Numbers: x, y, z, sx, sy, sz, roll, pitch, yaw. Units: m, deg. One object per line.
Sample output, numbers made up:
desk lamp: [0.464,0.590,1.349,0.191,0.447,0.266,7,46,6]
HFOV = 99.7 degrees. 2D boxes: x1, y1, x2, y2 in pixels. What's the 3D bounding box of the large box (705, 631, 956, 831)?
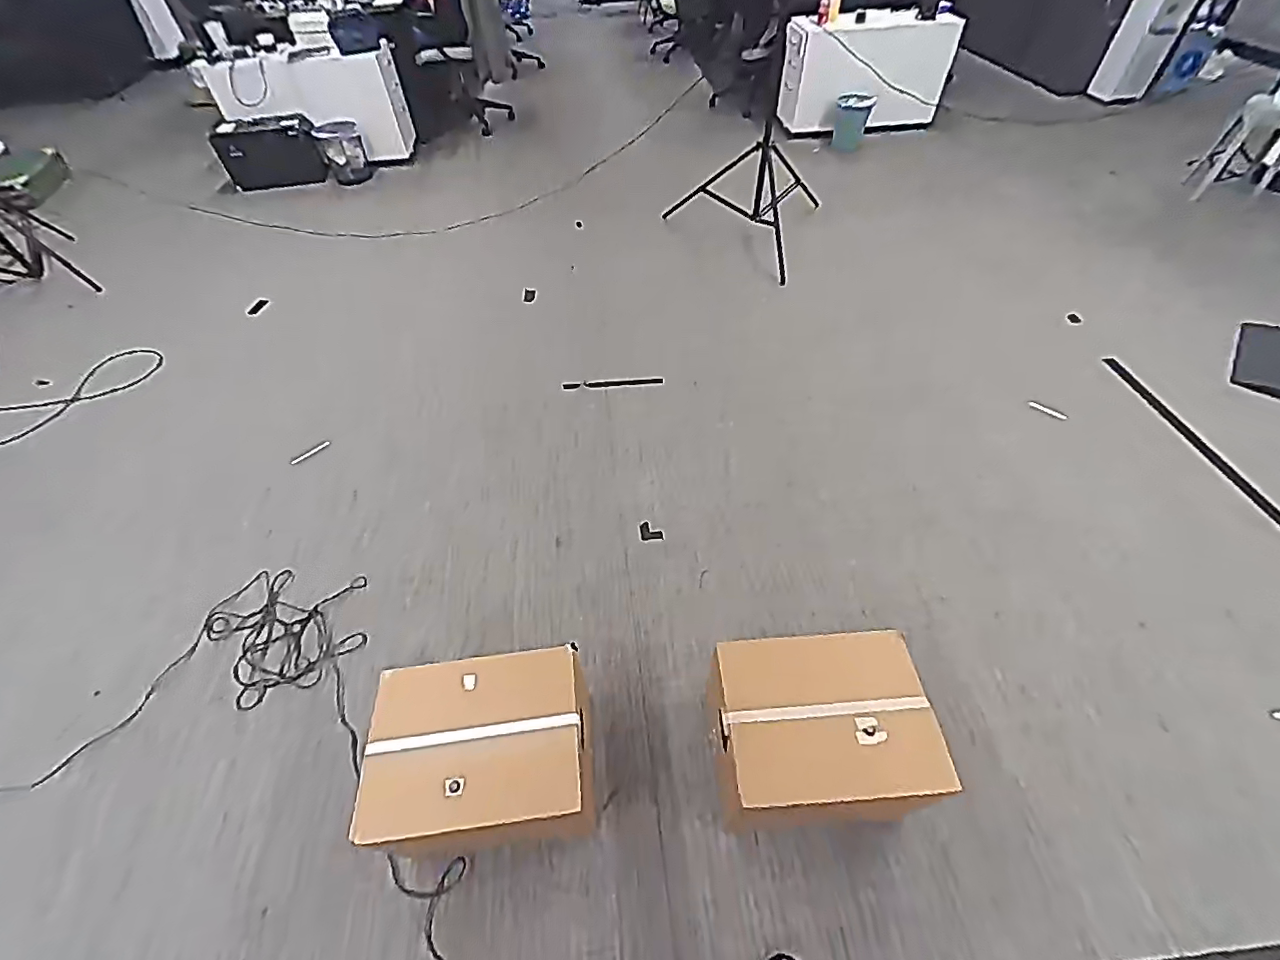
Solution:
large box: [0.375,0.555,1.190,0.408,0.320,0.320,-3,50,-2]
